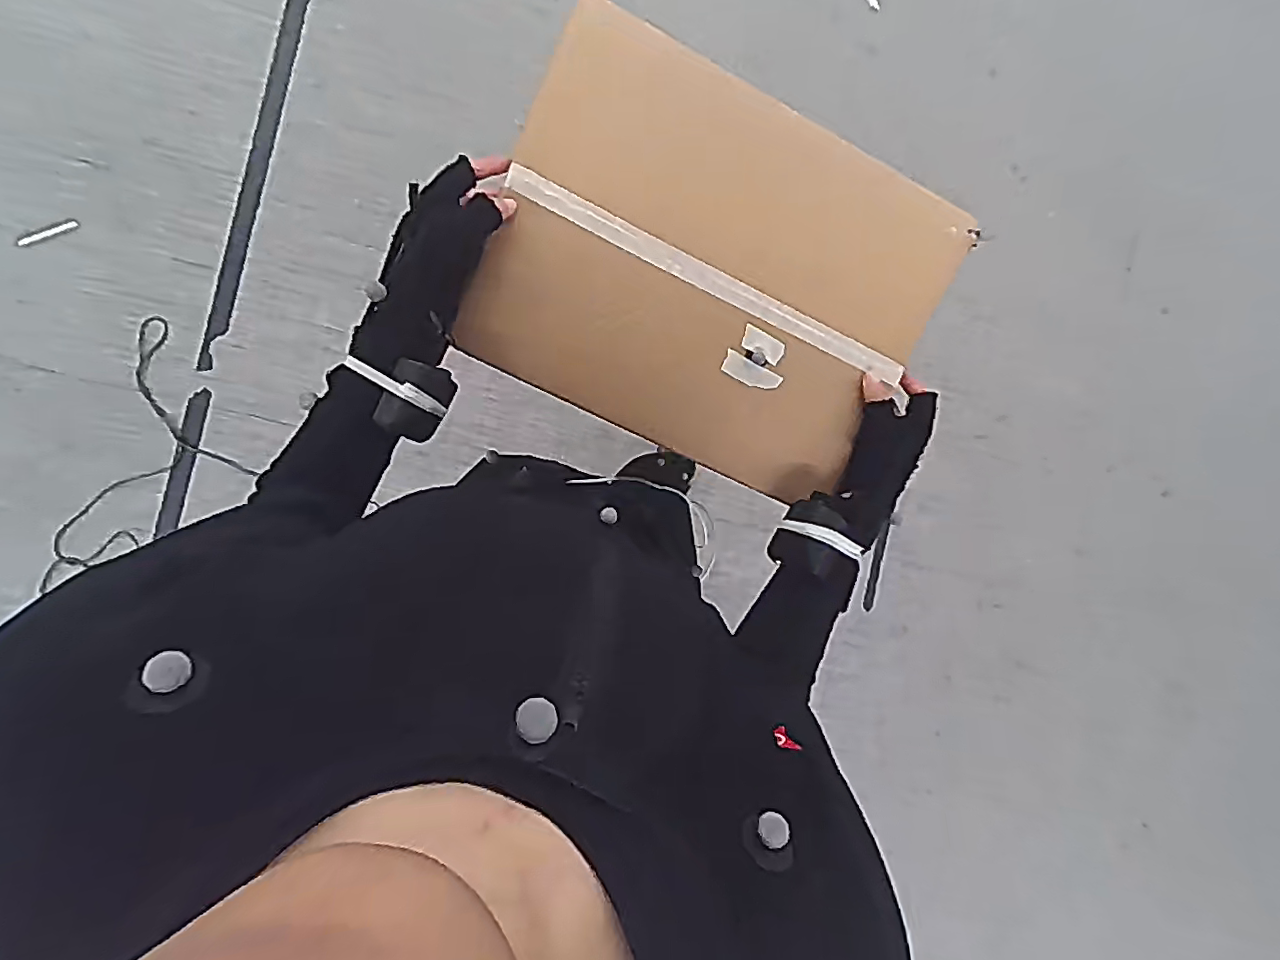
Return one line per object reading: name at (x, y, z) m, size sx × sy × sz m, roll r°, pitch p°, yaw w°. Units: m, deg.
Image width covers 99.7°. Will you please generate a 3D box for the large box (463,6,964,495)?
large box at (0.060, -0.226, 0.658) m, size 0.408 × 0.320 × 0.320 m, roll 24°, pitch 100°, yaw -9°
